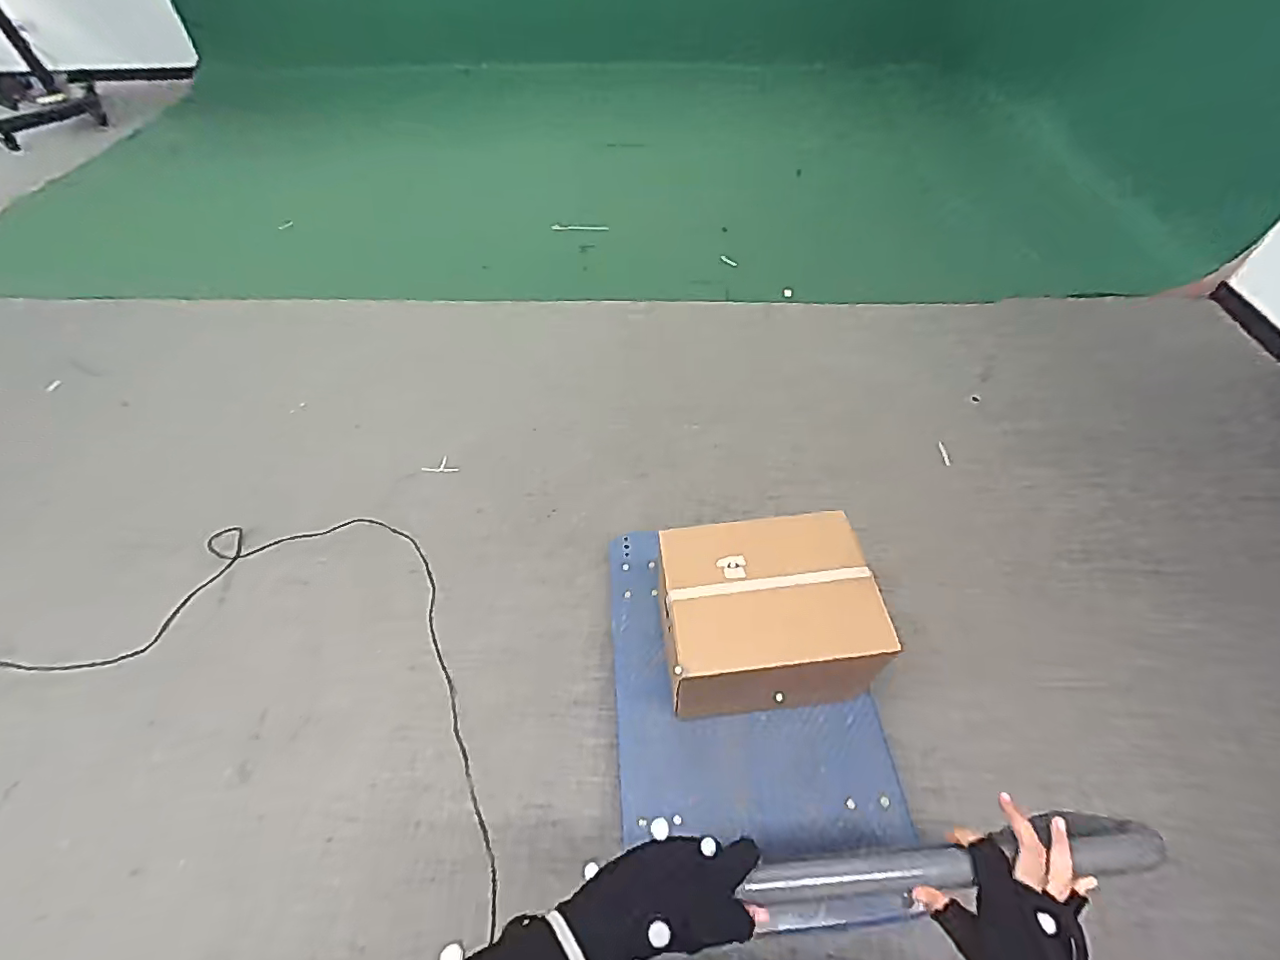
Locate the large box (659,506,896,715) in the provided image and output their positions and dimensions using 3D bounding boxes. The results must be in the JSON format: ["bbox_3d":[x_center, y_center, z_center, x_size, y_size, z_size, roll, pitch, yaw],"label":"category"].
[{"bbox_3d":[0.264,0.293,1.188,0.408,0.320,0.320,-8,52,-3],"label":"large box"}]
